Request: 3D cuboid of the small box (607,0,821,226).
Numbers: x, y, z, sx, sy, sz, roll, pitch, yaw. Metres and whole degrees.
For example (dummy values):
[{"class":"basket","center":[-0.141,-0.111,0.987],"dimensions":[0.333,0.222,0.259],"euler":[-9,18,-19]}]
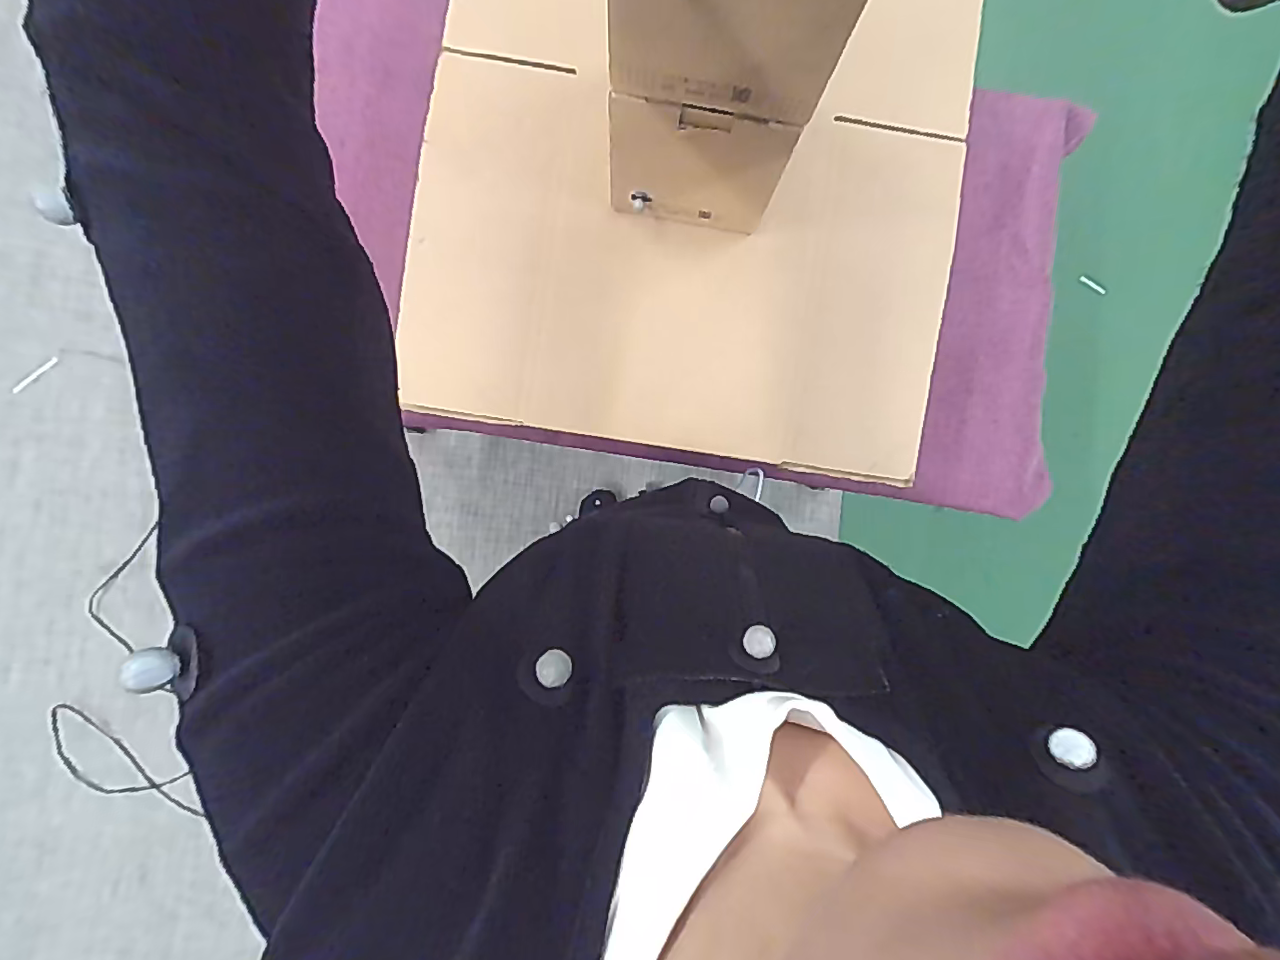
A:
[{"class":"small box","center":[0.065,-0.380,0.530],"dimensions":[0.168,0.176,0.179],"euler":[9,85,-2]}]
